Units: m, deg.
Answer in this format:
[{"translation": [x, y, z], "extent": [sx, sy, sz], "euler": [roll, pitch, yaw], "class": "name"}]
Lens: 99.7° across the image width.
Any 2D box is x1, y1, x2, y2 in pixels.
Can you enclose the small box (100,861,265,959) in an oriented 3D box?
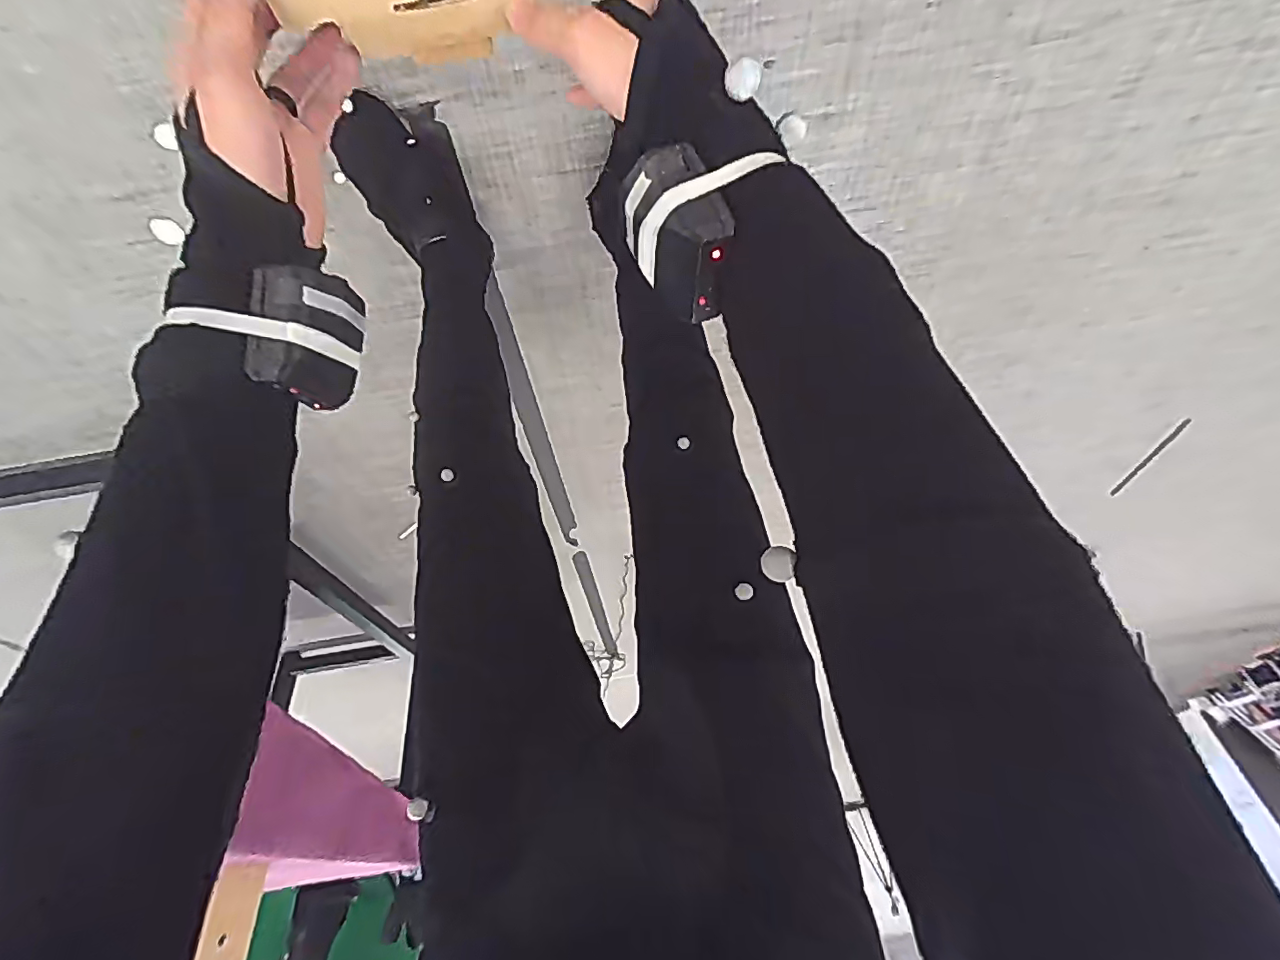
[{"translation": [-0.894, 0.867, 1.072], "extent": [0.168, 0.176, 0.179], "euler": [-11, 143, 4], "class": "small box"}]
